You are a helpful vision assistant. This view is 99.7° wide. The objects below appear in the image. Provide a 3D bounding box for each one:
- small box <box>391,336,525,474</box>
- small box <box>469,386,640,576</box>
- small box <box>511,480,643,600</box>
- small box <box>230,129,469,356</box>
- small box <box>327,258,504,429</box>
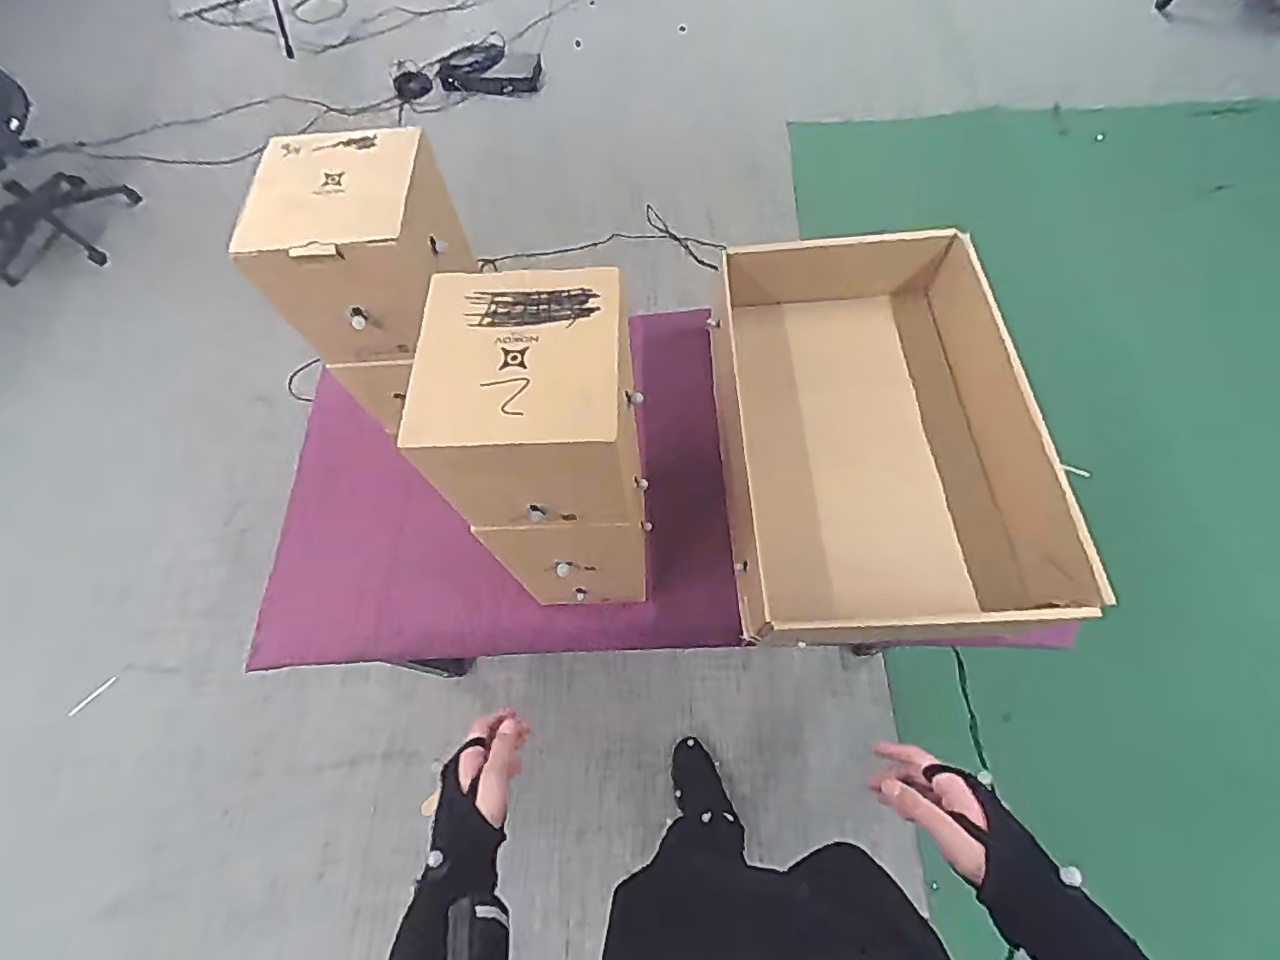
[{"bbox_3d":[-0.287,-0.116,0.906,0.168,0.176,0.179,-2,65,2],"label":"small box"},{"bbox_3d":[-0.089,0.007,0.651,0.168,0.176,0.179,-2,65,3],"label":"small box"},{"bbox_3d":[-0.081,0.077,0.799,0.168,0.176,0.179,-1,64,2],"label":"small box"},{"bbox_3d":[-0.304,-0.255,0.611,0.168,0.176,0.179,-3,65,1],"label":"small box"},{"bbox_3d":[-0.296,-0.181,0.758,0.168,0.176,0.179,-3,64,2],"label":"small box"}]
